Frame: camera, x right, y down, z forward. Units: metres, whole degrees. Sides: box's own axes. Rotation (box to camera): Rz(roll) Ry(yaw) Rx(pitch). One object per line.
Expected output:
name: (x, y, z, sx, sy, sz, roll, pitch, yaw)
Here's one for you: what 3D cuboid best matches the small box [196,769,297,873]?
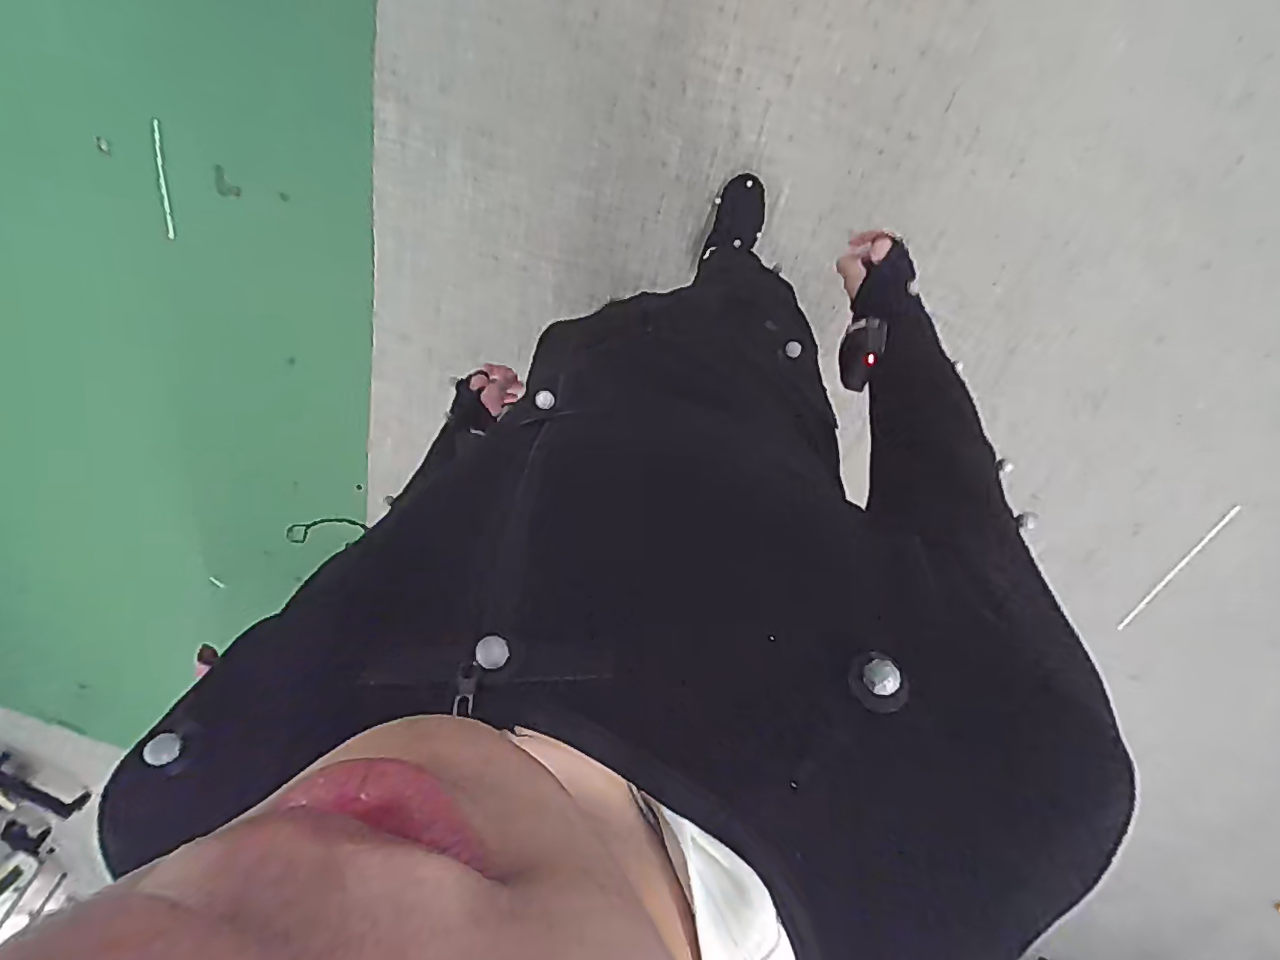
small box: (-1.127, 0.982, 1.564, 0.168, 0.176, 0.179, 17, 119, 1)
